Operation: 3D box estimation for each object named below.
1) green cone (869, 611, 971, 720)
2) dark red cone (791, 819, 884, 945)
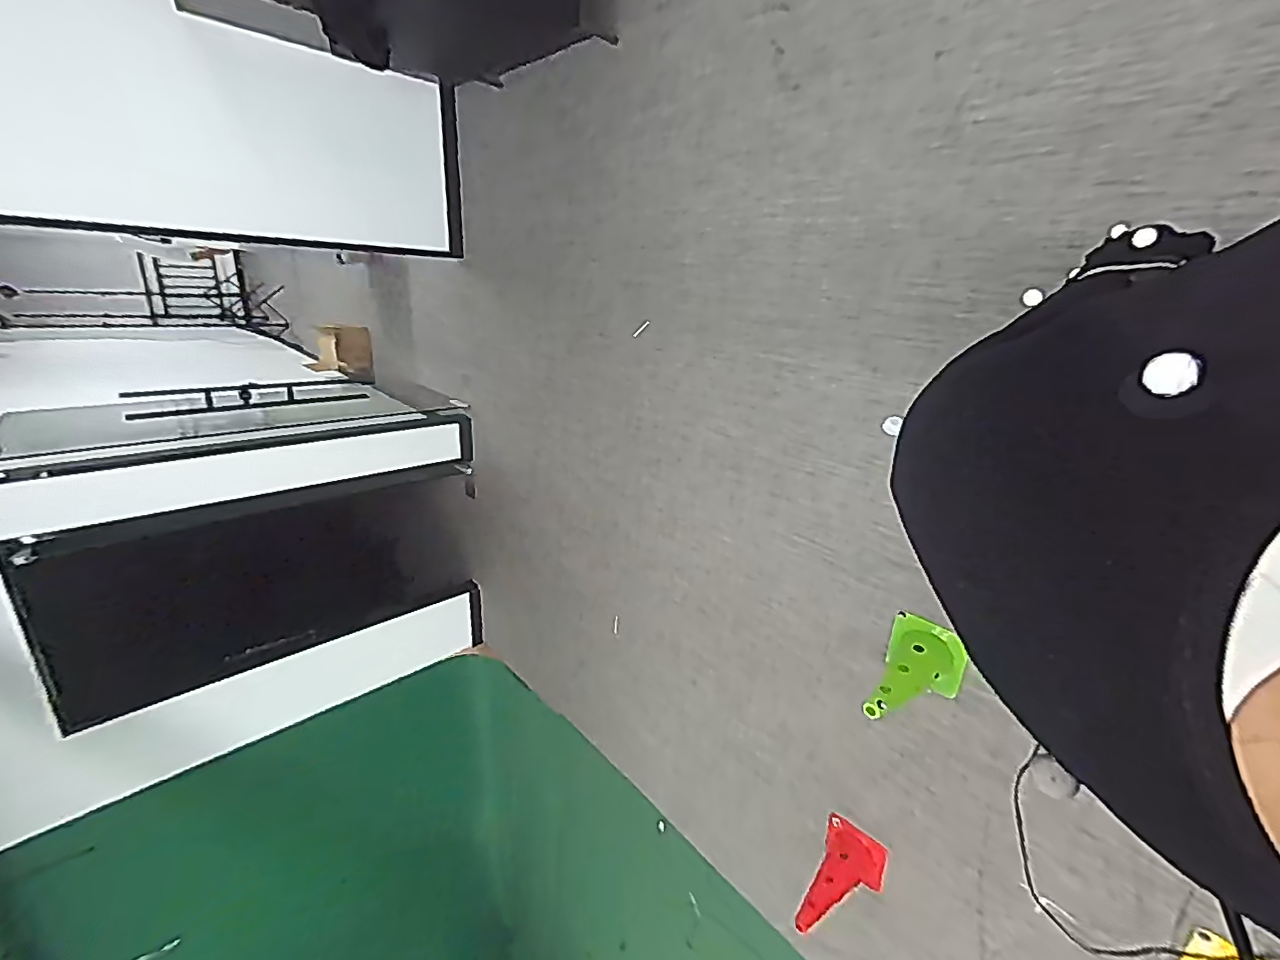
[{"bbox_3d":[0.696,0.527,1.428,0.202,0.368,0.200,21,117,42],"label":"green cone"},{"bbox_3d":[0.603,1.313,1.729,0.202,0.394,0.201,17,115,44],"label":"dark red cone"}]
